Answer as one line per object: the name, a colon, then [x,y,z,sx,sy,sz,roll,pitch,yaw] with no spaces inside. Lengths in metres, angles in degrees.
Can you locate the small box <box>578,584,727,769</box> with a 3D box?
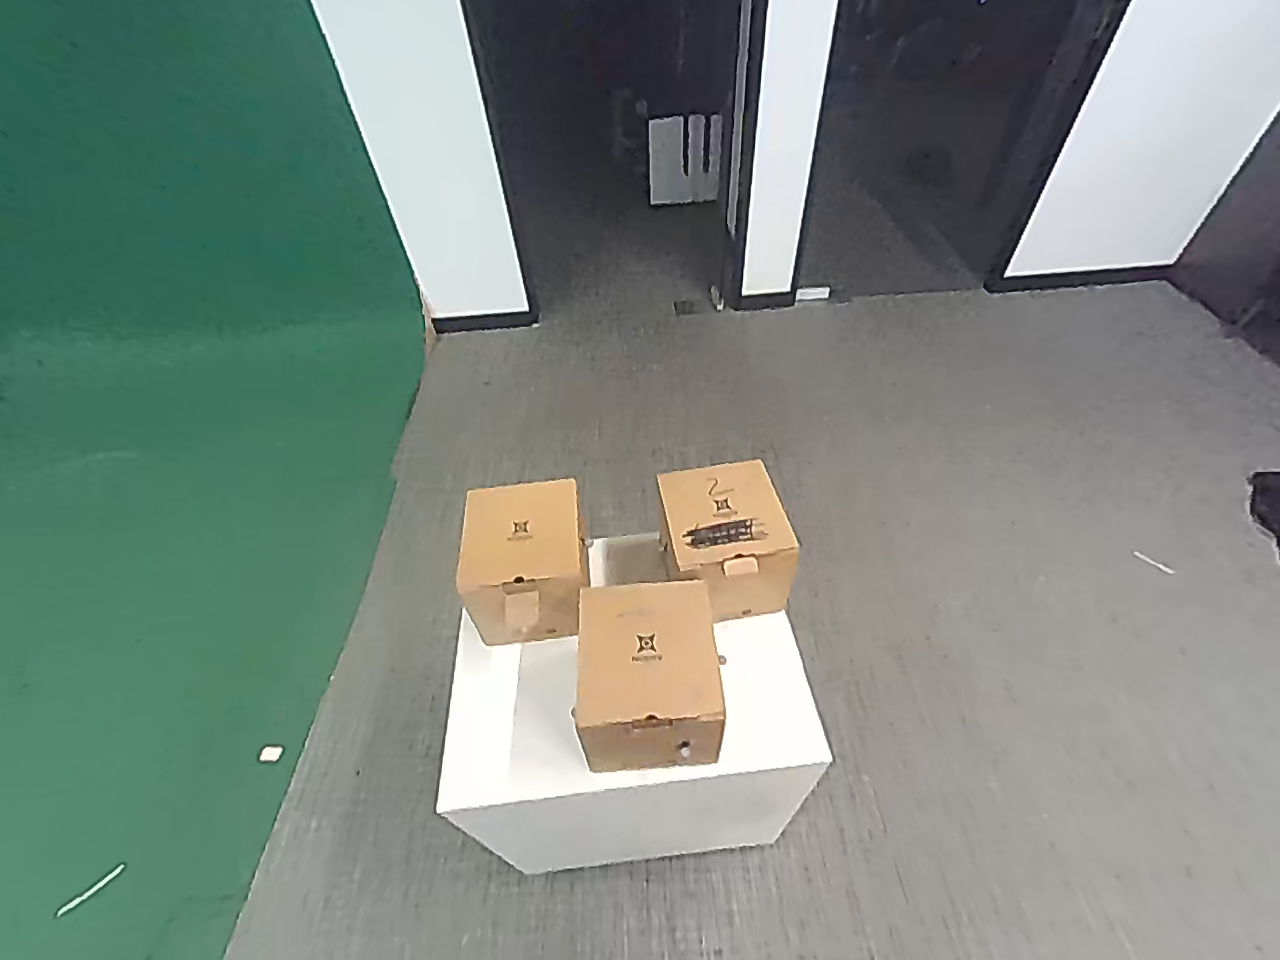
small box: [0.017,0.256,0.693,0.168,0.176,0.179,-3,45,0]

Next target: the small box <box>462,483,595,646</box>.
small box: [-0.159,0.129,0.824,0.168,0.176,0.179,-6,48,-3]
